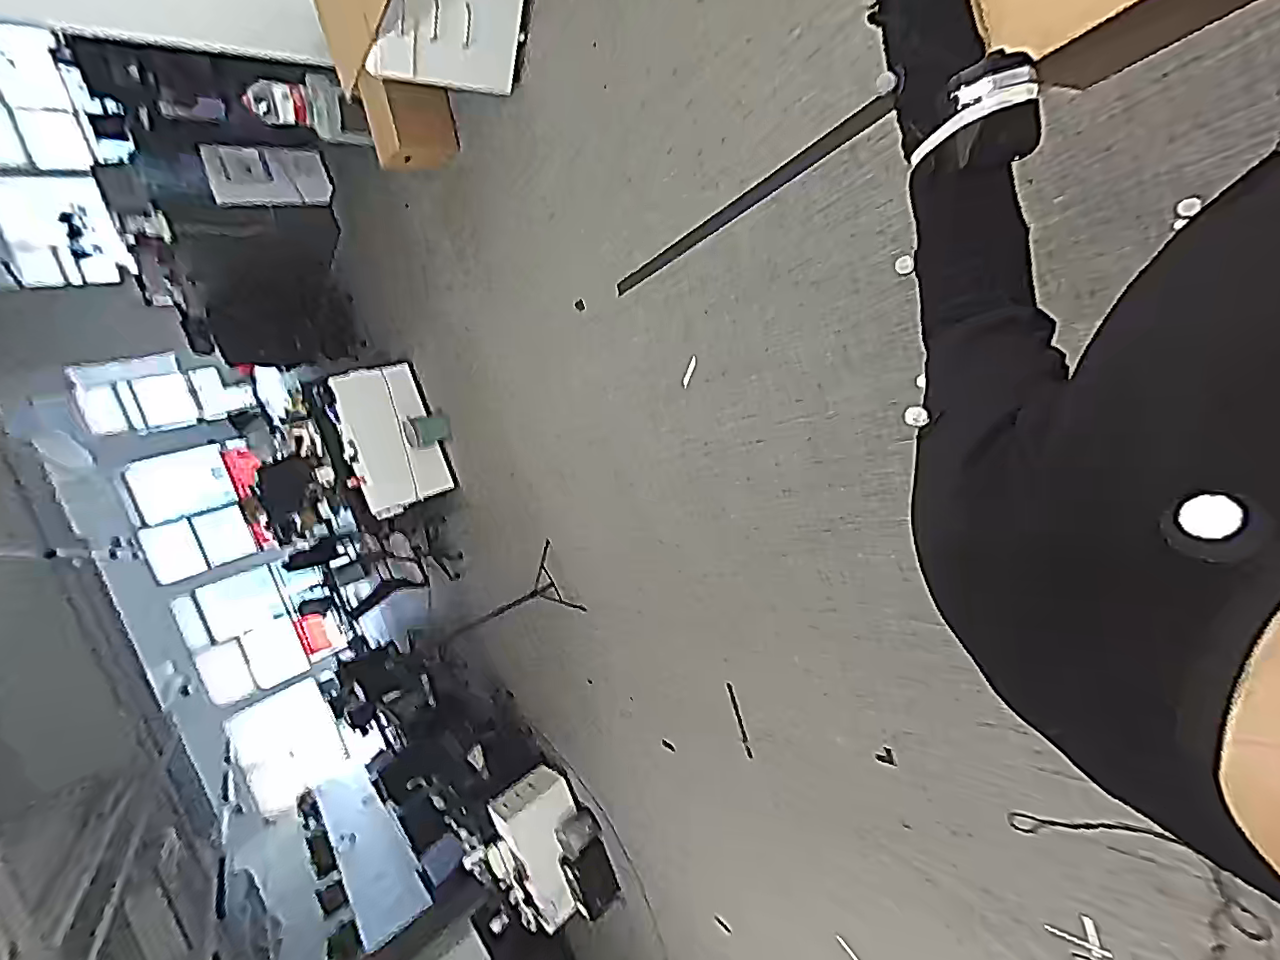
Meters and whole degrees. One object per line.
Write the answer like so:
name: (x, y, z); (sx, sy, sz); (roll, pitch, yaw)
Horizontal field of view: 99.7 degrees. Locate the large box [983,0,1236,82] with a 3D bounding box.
large box: (0.433, -0.526, 0.314); (0.408, 0.320, 0.320); (-10, 107, 51)
